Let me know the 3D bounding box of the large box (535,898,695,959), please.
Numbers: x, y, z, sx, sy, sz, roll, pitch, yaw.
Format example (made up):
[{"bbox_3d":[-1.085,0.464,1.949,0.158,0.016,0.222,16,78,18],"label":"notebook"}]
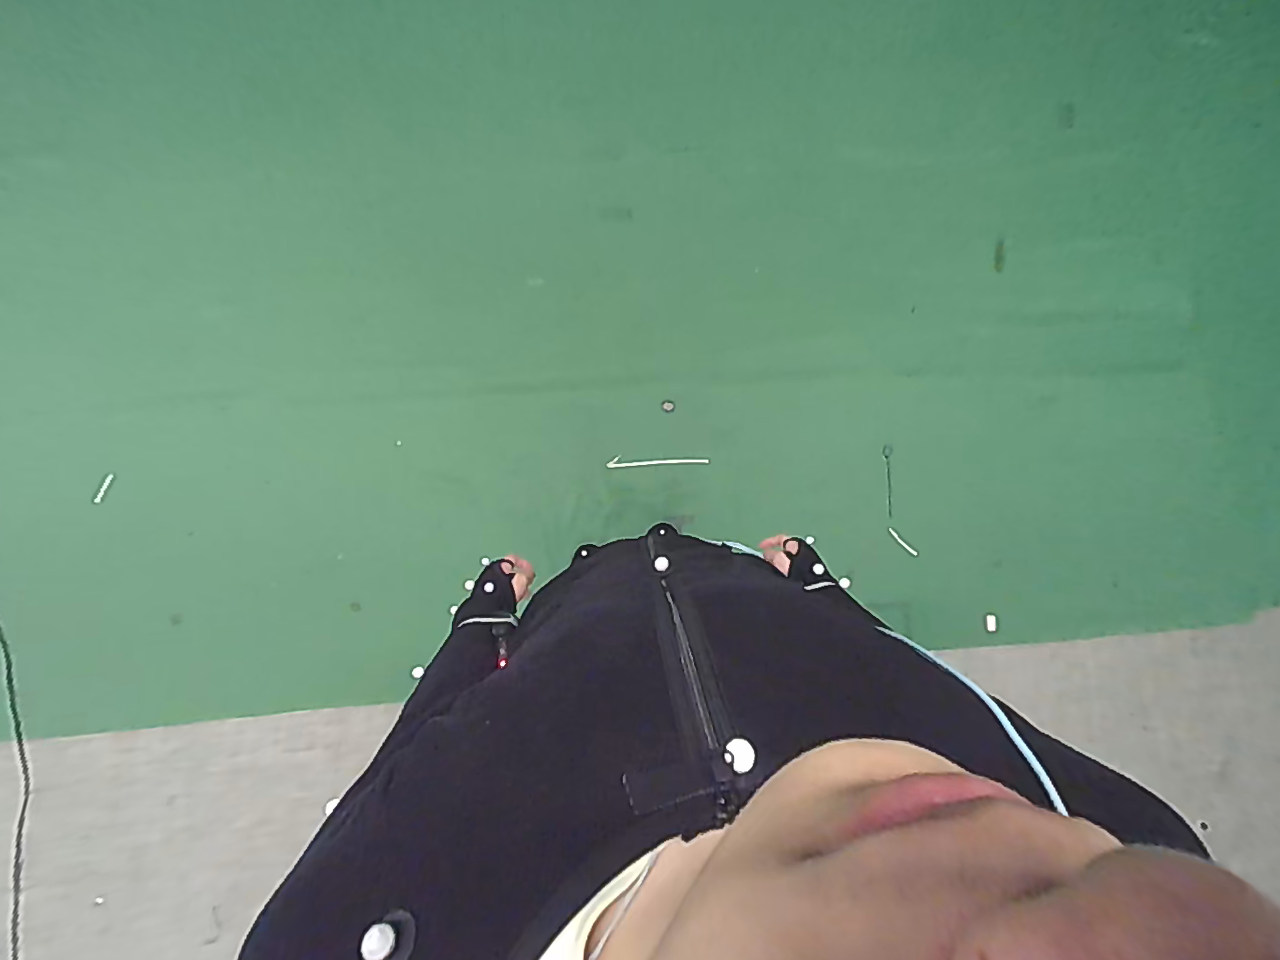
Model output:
[{"bbox_3d":[-0.053,1.350,1.376,0.408,0.320,0.320,-6,84,-5],"label":"large box"}]
